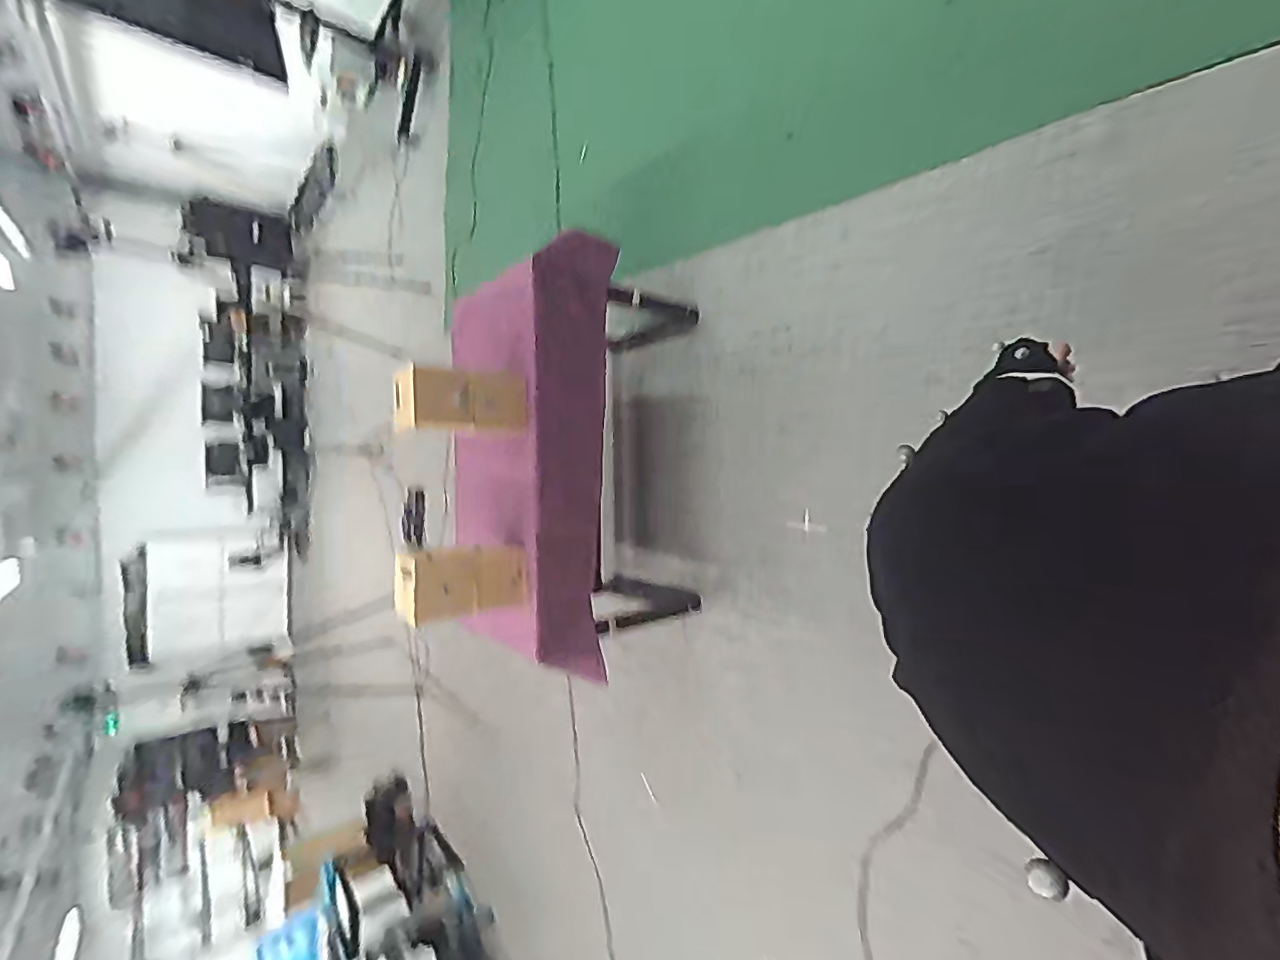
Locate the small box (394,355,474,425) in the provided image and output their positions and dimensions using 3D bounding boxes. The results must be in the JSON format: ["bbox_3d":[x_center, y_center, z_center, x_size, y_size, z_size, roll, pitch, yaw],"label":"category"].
[{"bbox_3d":[-0.581,-0.246,1.528,0.179,0.176,0.168,0,91,49],"label":"small box"}]

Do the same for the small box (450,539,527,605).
[{"bbox_3d":[-0.464,0.275,1.649,0.179,0.176,0.168,3,92,49],"label":"small box"}]

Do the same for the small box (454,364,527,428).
[{"bbox_3d":[-0.451,-0.247,1.629,0.168,0.176,0.179,4,93,49],"label":"small box"}]
